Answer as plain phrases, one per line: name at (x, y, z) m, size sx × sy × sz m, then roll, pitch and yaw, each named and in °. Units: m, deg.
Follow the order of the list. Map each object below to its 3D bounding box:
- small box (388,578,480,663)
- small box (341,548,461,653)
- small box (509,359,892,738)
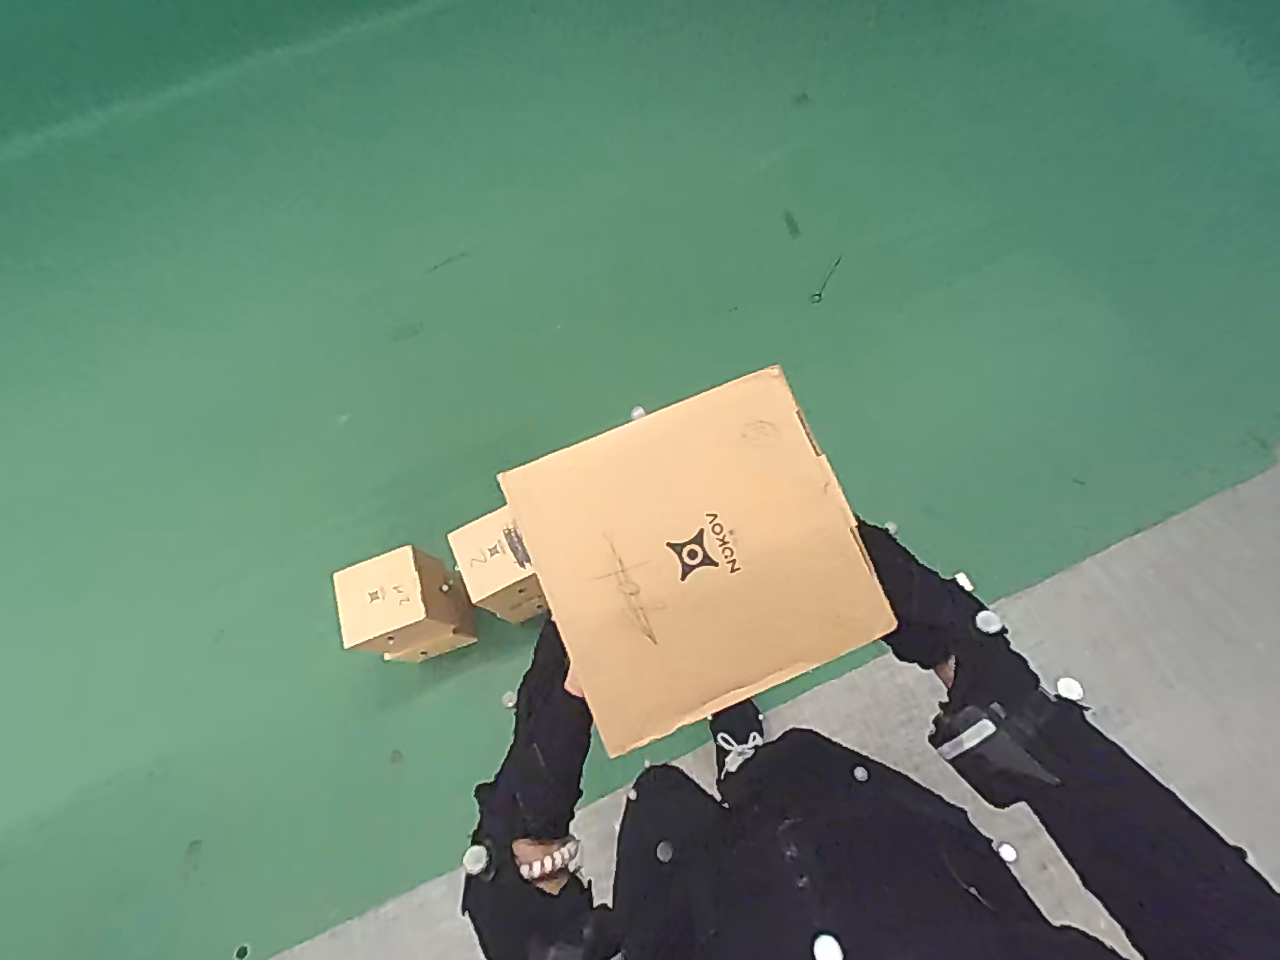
small box at (-0.514, 0.344, 1.343) m, size 0.168 × 0.176 × 0.179 m, roll -19°, pitch 68°, yaw -3°
small box at (-0.523, 0.273, 1.194) m, size 0.179 × 0.176 × 0.168 m, roll -20°, pitch 68°, yaw -2°
small box at (0.030, 0.042, 0.381) m, size 0.179 × 0.176 × 0.168 m, roll -22°, pitch 84°, yaw -5°
